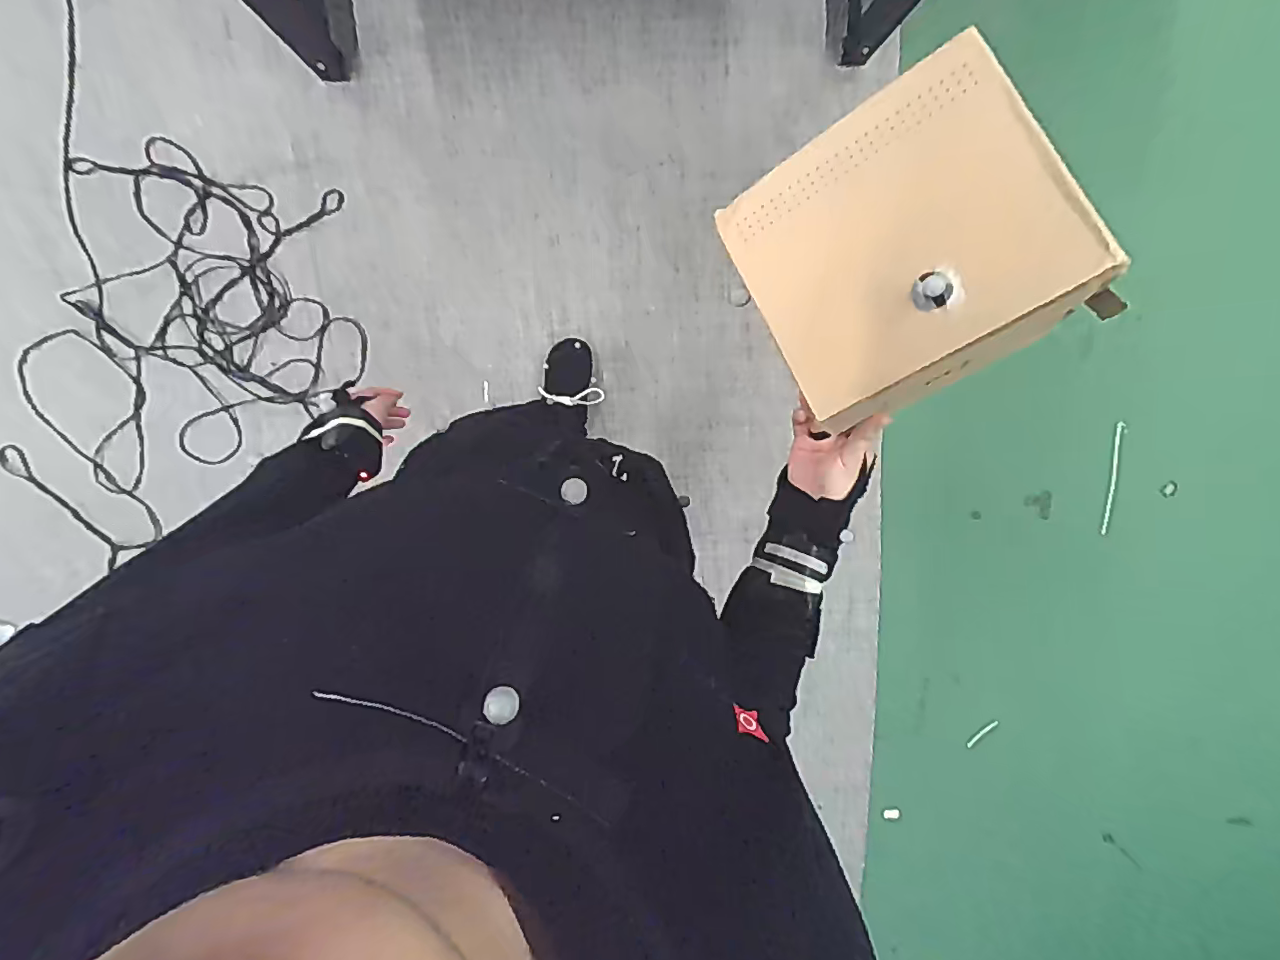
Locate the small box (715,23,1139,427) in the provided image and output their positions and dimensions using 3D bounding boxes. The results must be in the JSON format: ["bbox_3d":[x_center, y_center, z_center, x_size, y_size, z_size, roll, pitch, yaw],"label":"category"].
[{"bbox_3d":[0.182,-0.156,0.389,0.179,0.168,0.176,-28,79,23],"label":"small box"}]
